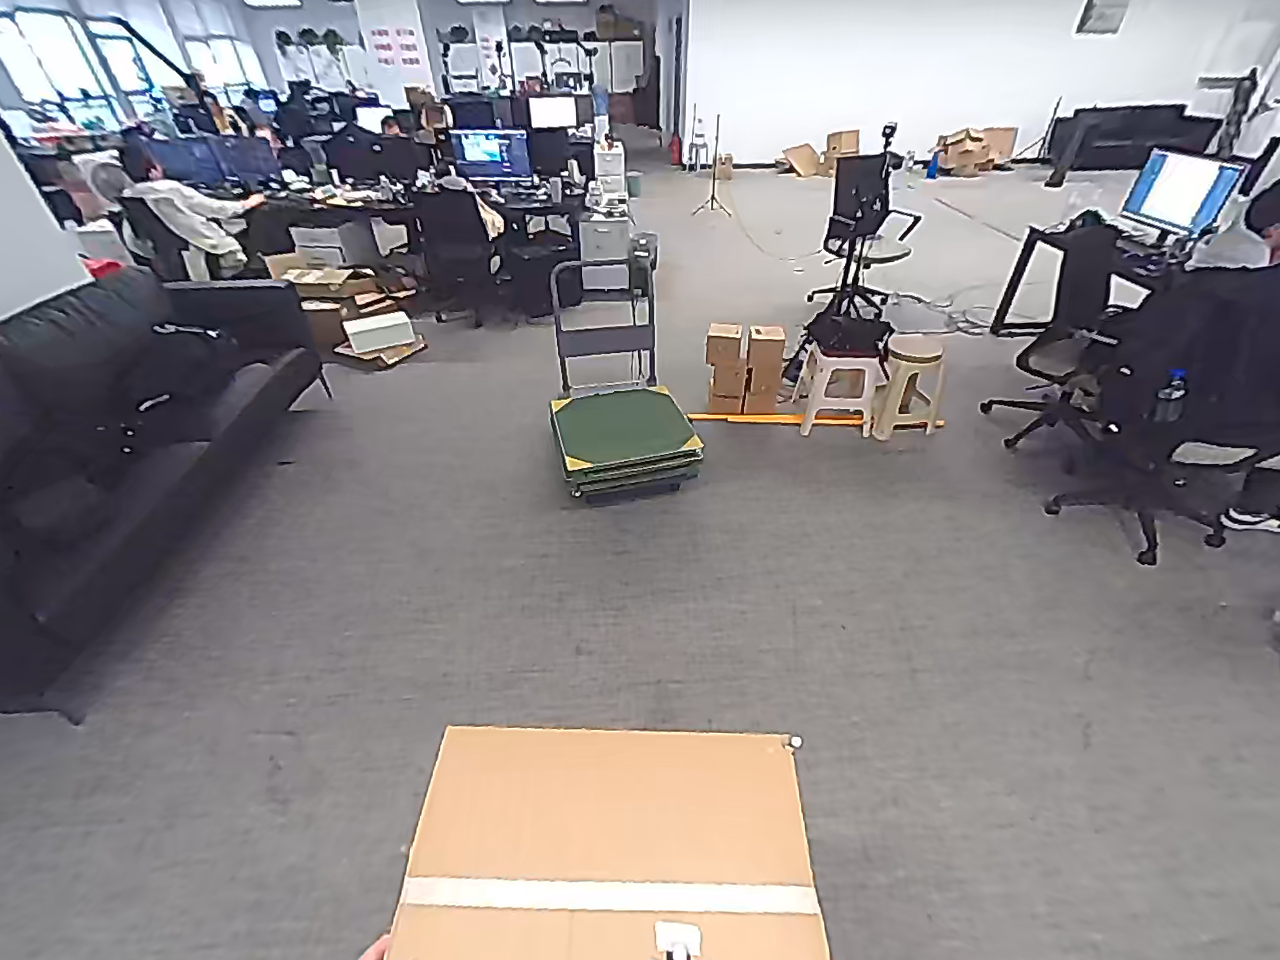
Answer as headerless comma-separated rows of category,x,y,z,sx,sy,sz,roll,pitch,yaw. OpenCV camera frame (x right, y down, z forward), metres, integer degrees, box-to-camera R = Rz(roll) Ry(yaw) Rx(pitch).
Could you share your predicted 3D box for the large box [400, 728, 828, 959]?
large box,-0.026,0.511,0.639,0.408,0.320,0.320,1,45,0
